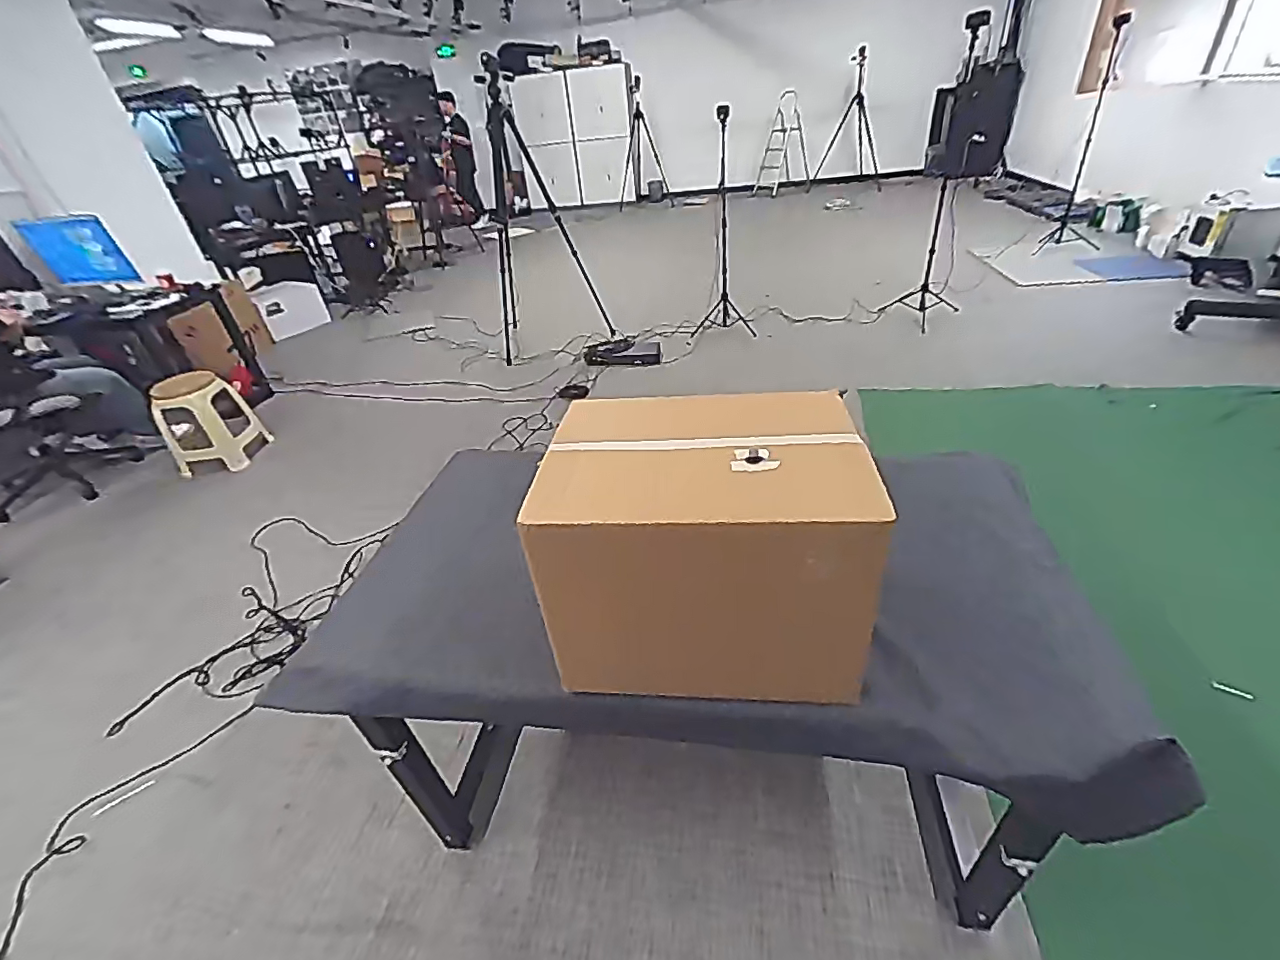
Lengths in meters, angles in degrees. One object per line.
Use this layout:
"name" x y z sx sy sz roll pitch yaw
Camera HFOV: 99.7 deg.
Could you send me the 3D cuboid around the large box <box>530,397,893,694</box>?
"large box" 0.092 0.086 0.789 0.408 0.320 0.320 0 35 7
